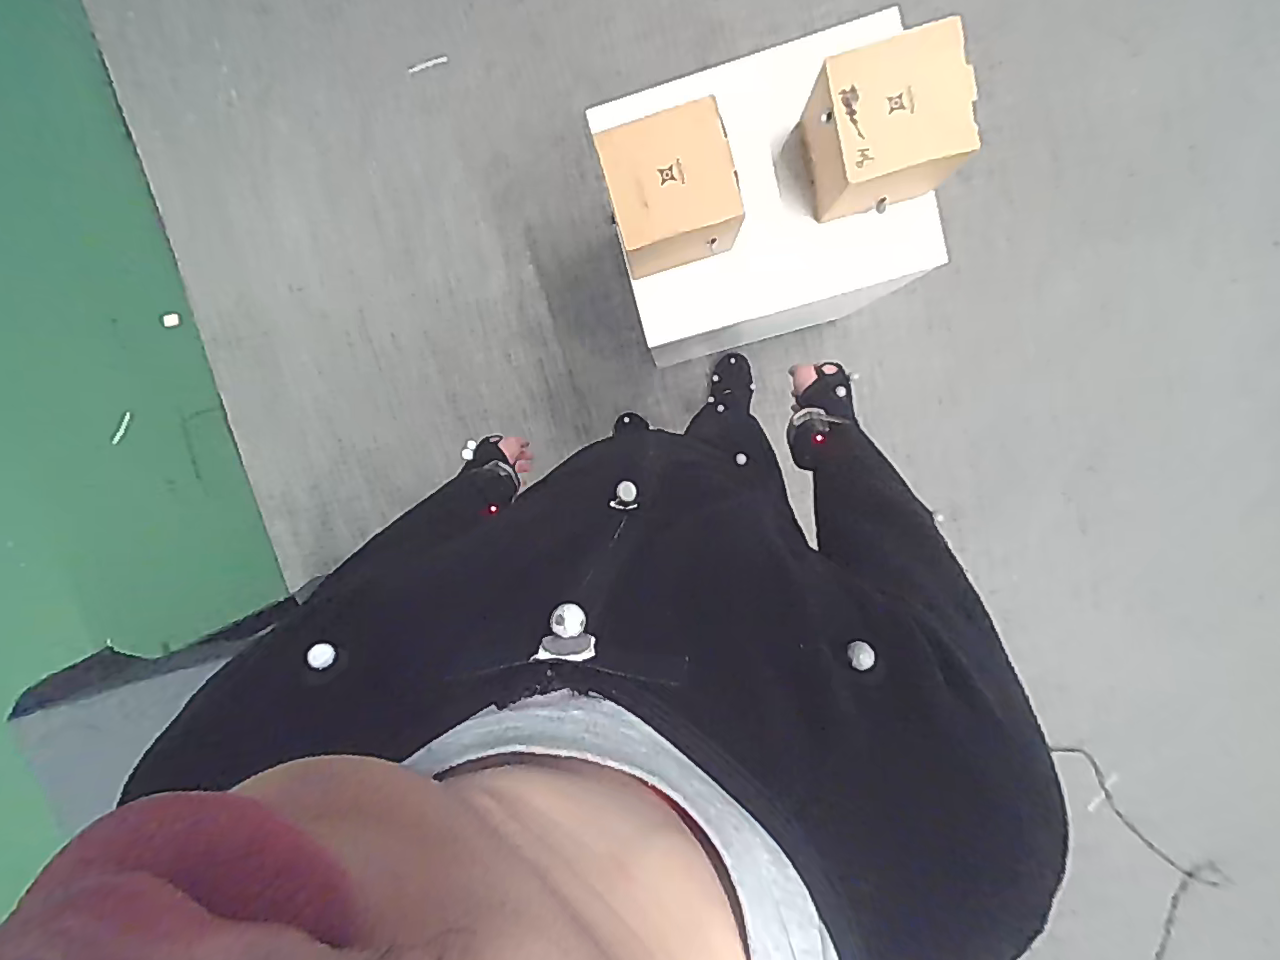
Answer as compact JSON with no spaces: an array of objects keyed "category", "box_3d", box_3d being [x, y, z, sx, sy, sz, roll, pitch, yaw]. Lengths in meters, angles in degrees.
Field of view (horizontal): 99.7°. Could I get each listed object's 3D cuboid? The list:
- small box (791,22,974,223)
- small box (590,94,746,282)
[{"category":"small box","box_3d":[0.339,-0.501,0.785,0.179,0.176,0.168,-14,97,3]},{"category":"small box","box_3d":[0.038,-0.417,0.802,0.179,0.176,0.168,-18,95,3]}]
